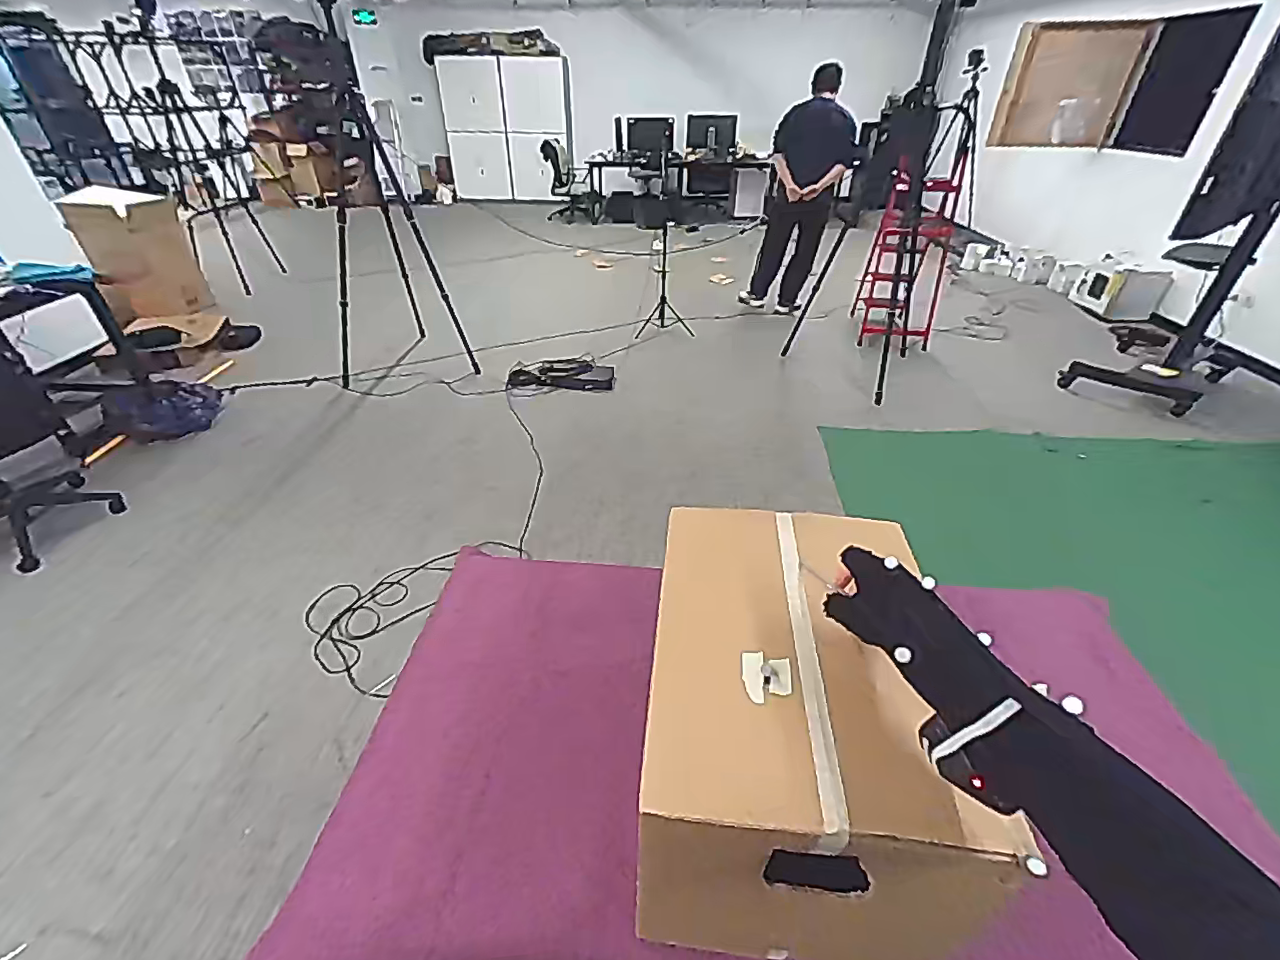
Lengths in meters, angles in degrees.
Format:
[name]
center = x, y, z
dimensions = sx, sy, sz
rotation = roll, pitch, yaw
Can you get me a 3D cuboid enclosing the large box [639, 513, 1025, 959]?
[large box]
center = 0.172, 0.294, 0.686
dimensions = 0.320, 0.320, 0.408
rotation = 4, 36, 5
